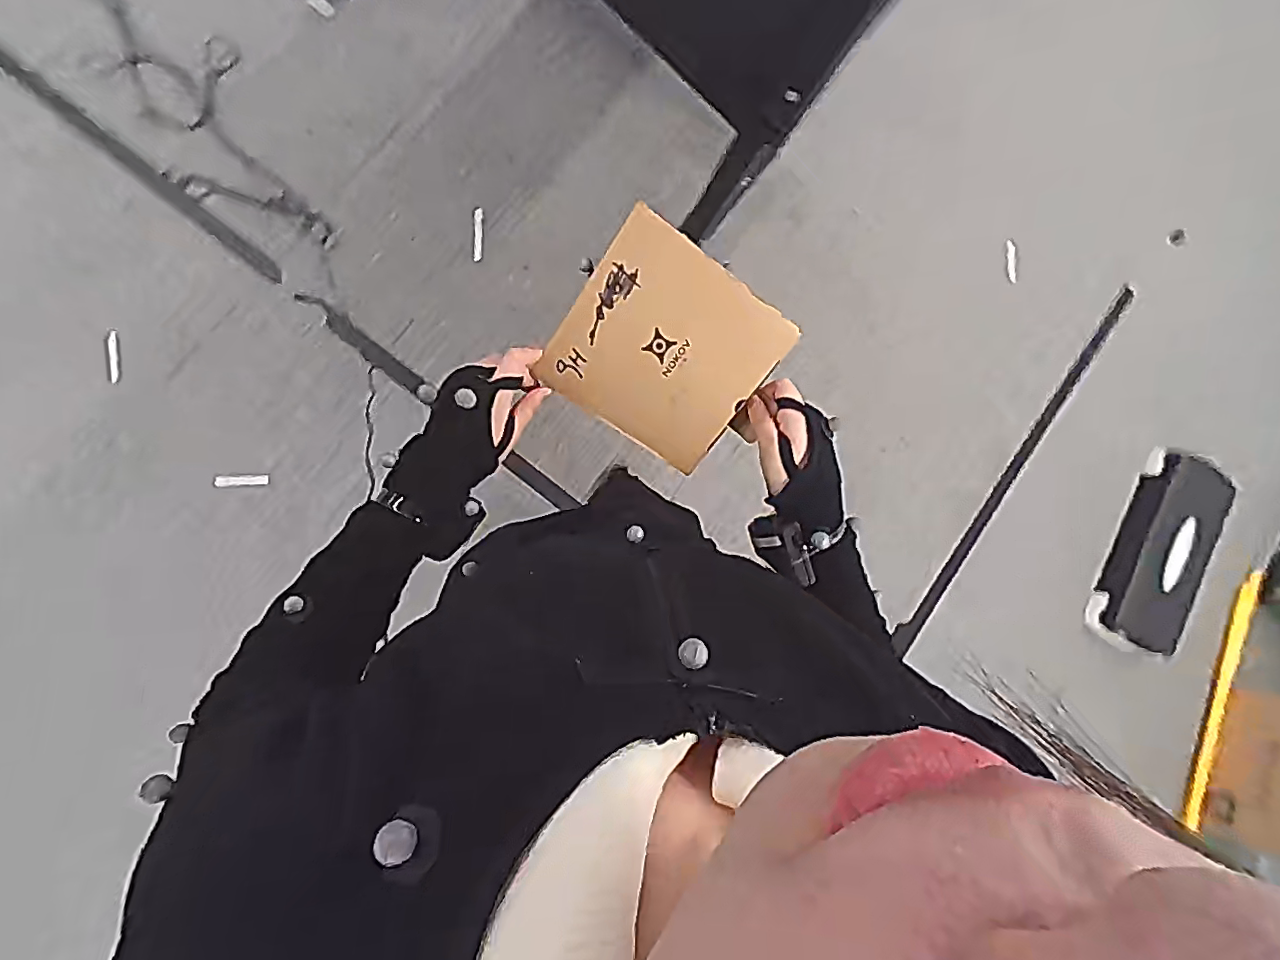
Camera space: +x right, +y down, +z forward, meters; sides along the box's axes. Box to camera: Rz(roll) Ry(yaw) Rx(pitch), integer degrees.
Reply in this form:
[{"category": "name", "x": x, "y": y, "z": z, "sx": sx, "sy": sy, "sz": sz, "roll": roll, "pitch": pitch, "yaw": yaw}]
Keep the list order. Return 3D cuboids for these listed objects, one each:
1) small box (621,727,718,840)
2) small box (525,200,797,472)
[{"category": "small box", "x": 0.069, "y": 0.791, "z": 1.436, "sx": 0.179, "sy": 0.176, "sz": 0.168, "roll": 45, "pitch": 82, "yaw": -9}, {"category": "small box", "x": 0.012, "y": -0.142, "z": 0.526, "sx": 0.179, "sy": 0.176, "sz": 0.168, "roll": 31, "pitch": 107, "yaw": -17}]
